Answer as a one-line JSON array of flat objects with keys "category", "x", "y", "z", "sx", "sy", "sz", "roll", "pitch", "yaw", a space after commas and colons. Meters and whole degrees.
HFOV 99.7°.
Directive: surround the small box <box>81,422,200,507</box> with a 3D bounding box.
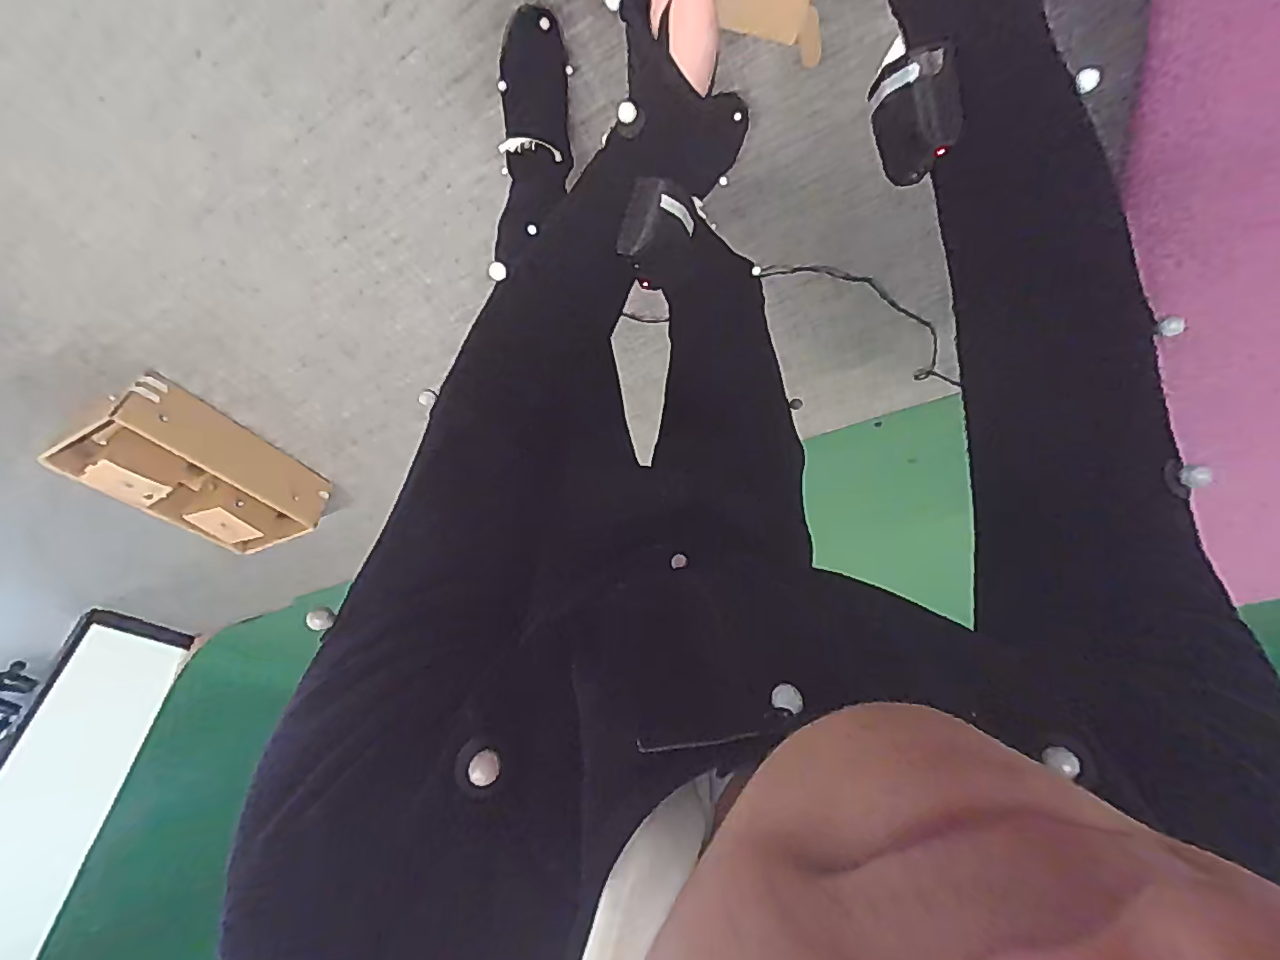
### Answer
[{"category": "small box", "x": -1.478, "y": -0.053, "z": 1.609, "sx": 0.168, "sy": 0.176, "sz": 0.179, "roll": -21, "pitch": 138, "yaw": 24}]
